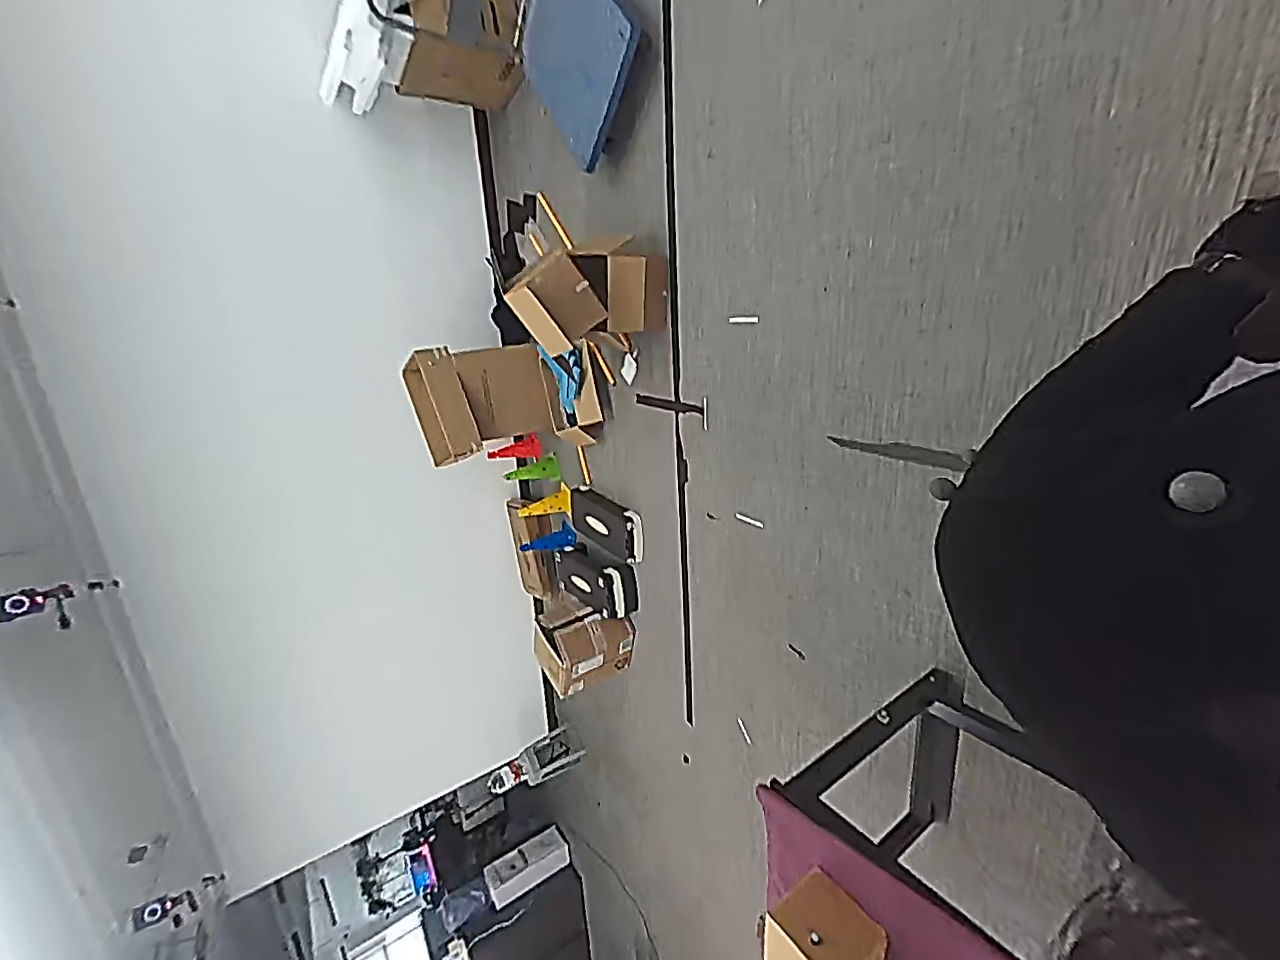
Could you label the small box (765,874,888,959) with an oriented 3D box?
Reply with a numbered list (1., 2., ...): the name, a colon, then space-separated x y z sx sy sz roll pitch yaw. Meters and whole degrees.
1. small box: 0.387 0.980 1.136 0.179 0.176 0.168 24 123 51
